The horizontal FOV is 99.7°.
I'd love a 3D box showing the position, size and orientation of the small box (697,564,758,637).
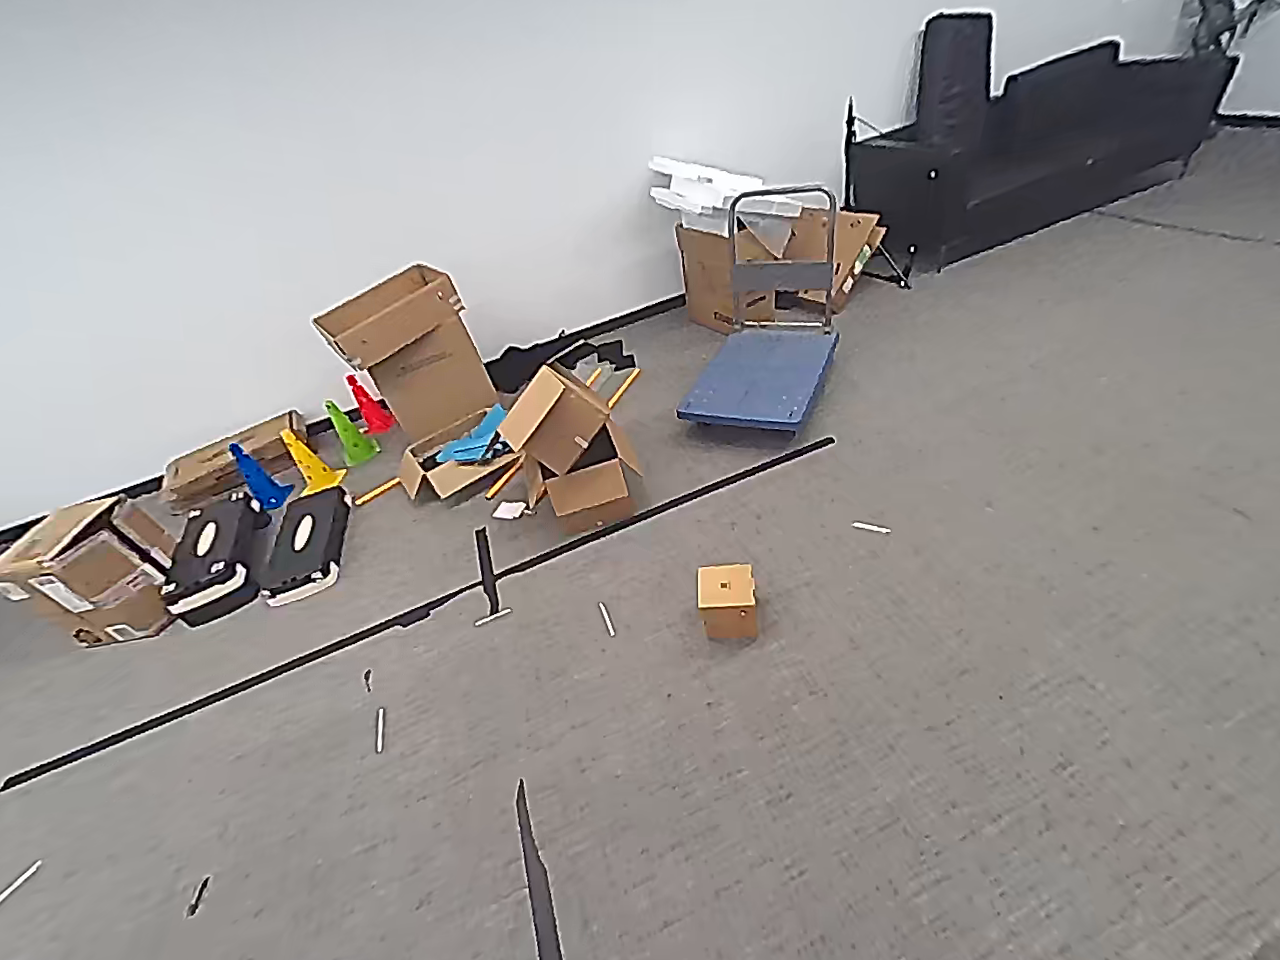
[{"bbox_3d":[0.284,0.395,1.758,0.179,0.176,0.168,-6,39,11],"label":"small box"}]
